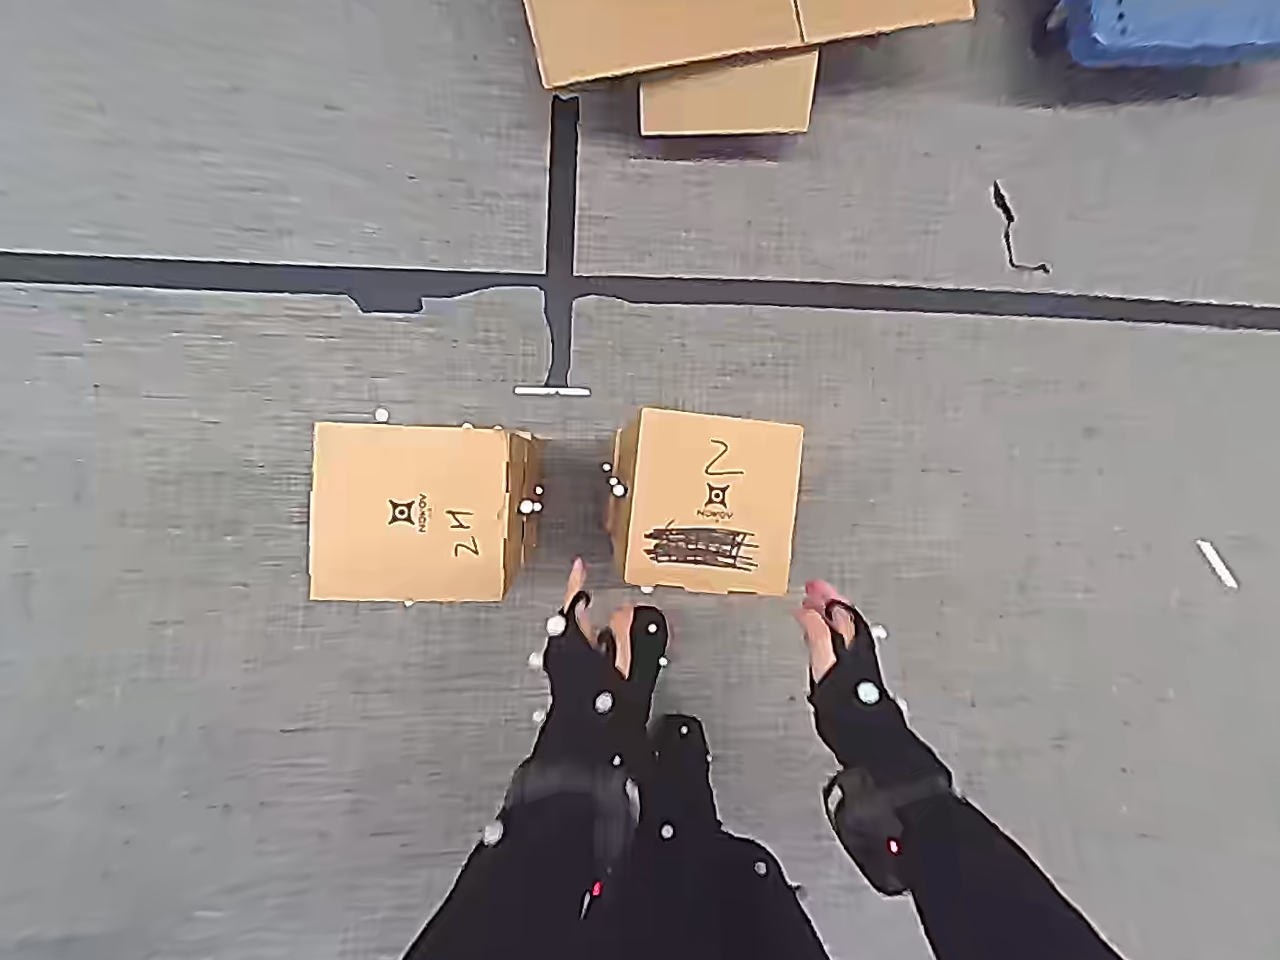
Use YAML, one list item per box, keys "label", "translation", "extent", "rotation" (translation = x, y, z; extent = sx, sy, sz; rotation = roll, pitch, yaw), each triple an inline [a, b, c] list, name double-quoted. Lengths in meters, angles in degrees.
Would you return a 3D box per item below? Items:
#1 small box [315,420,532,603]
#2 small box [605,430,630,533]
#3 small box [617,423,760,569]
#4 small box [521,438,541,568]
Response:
- label: "small box"
  translation: [-0.214, 0.029, 0.578]
  extent: [0.179, 0.176, 0.168]
  rotation: [2, 92, -7]
- label: "small box"
  translation: [0.039, 0.008, 0.932]
  extent: [0.179, 0.176, 0.168]
  rotation: [6, 91, -7]
- label: "small box"
  translation: [0.059, 0.019, 0.769]
  extent: [0.168, 0.176, 0.179]
  rotation: [5, 90, -6]
- label: "small box"
  translation: [-0.232, 0.025, 0.742]
  extent: [0.179, 0.176, 0.168]
  rotation: [2, 92, -7]
